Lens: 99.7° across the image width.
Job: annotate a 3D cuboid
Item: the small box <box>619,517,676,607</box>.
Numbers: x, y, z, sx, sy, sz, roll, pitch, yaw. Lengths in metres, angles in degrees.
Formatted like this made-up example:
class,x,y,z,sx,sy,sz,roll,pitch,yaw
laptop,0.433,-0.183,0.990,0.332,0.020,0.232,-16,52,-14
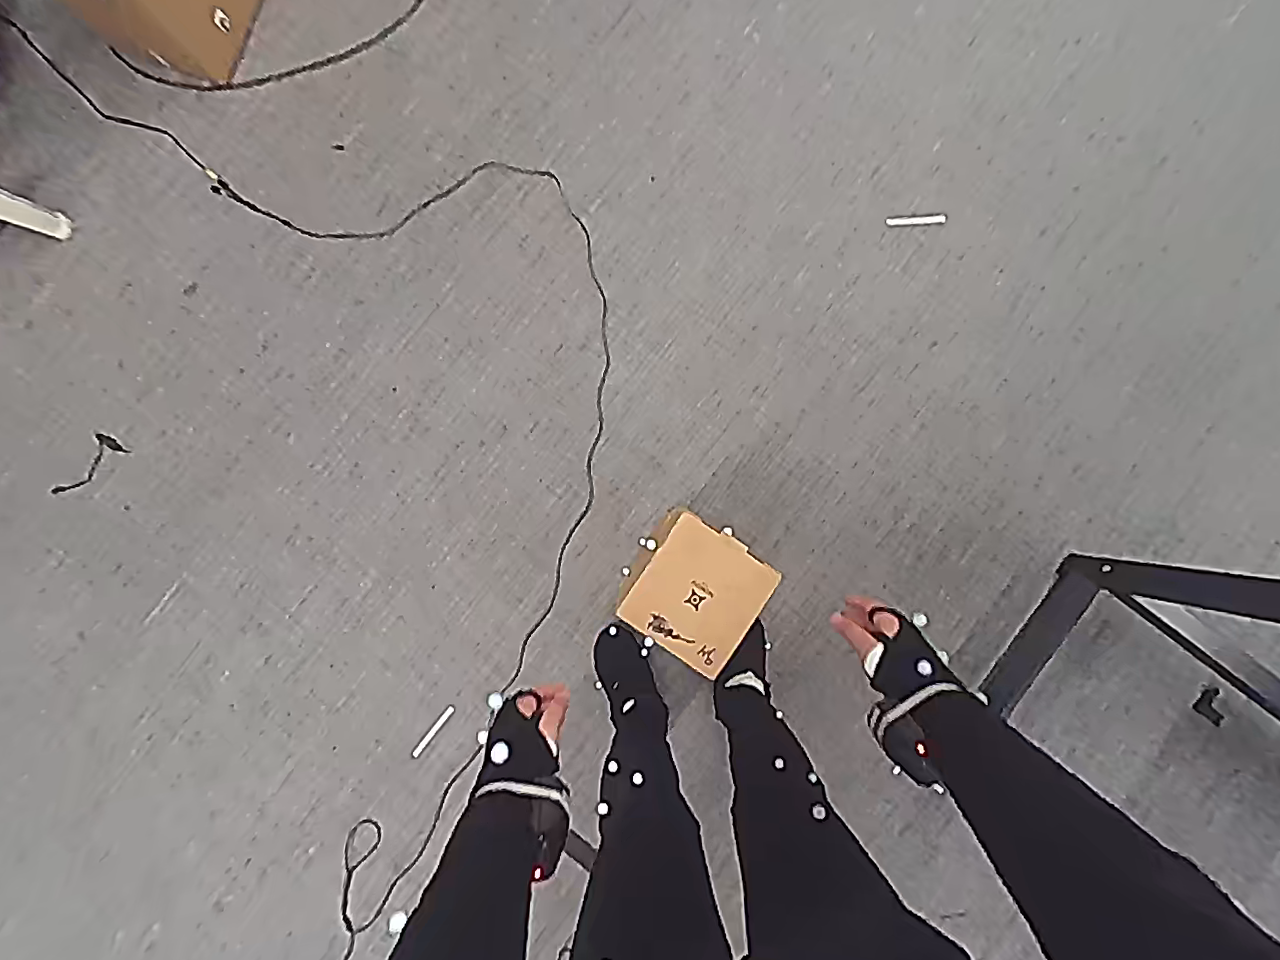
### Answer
class,x,y,z,sx,sy,sz,roll,pitch,yaw
small box,0.078,0.182,0.985,0.168,0.176,0.179,30,86,1

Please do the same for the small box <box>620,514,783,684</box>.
class,x,y,z,sx,sy,sz,roll,pitch,yaw
small box,0.083,0.167,0.819,0.168,0.176,0.179,34,87,3
